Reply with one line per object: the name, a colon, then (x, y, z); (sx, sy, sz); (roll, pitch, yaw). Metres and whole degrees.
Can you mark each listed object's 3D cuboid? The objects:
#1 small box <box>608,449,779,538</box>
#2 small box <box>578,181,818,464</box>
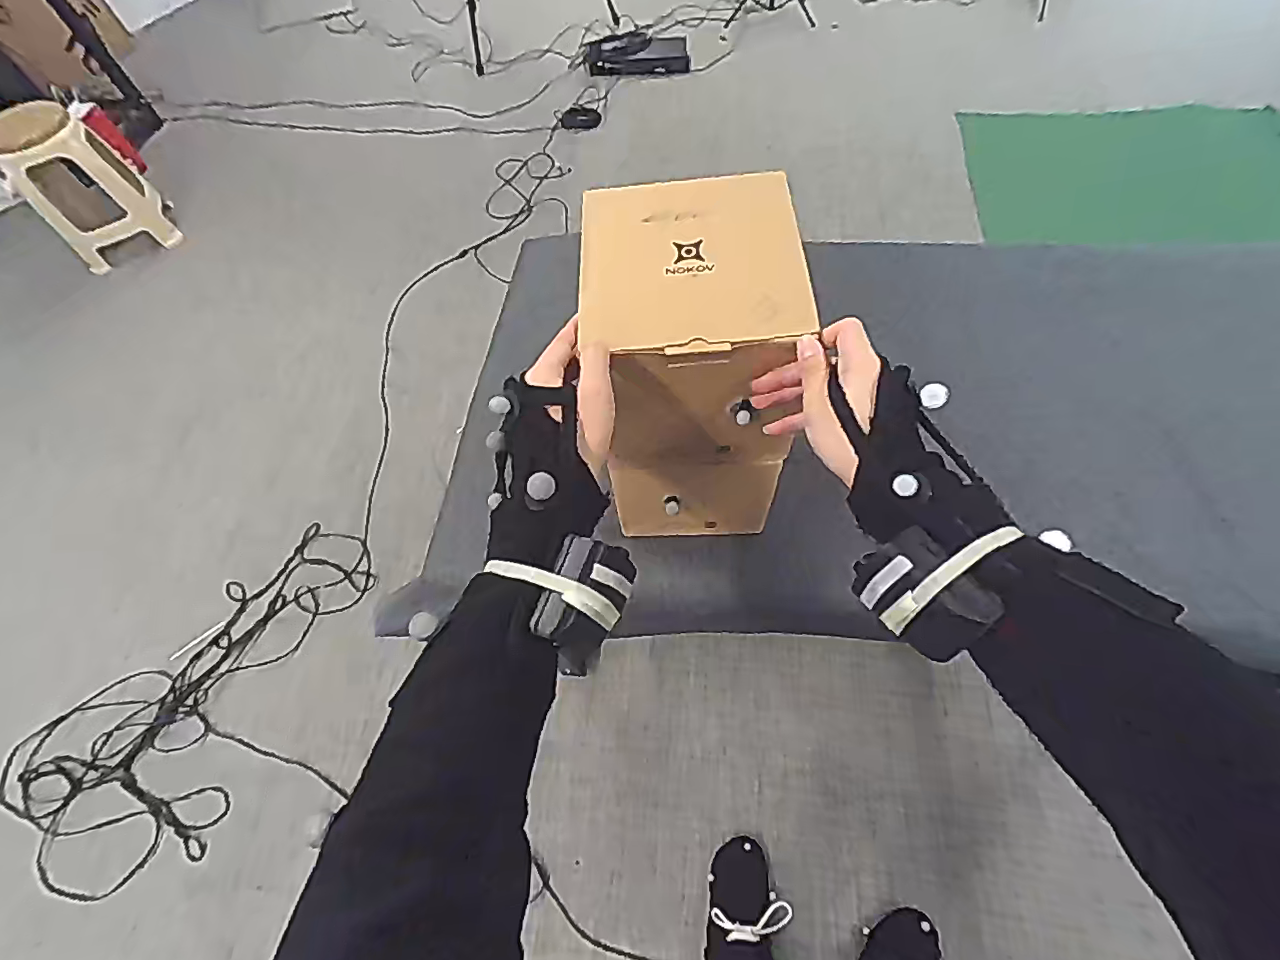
small box: (0.058, -0.041, 0.618); (0.168, 0.176, 0.179); (-1, 59, 4)
small box: (0.044, -0.123, 0.472); (0.168, 0.176, 0.179); (-3, 61, 3)
